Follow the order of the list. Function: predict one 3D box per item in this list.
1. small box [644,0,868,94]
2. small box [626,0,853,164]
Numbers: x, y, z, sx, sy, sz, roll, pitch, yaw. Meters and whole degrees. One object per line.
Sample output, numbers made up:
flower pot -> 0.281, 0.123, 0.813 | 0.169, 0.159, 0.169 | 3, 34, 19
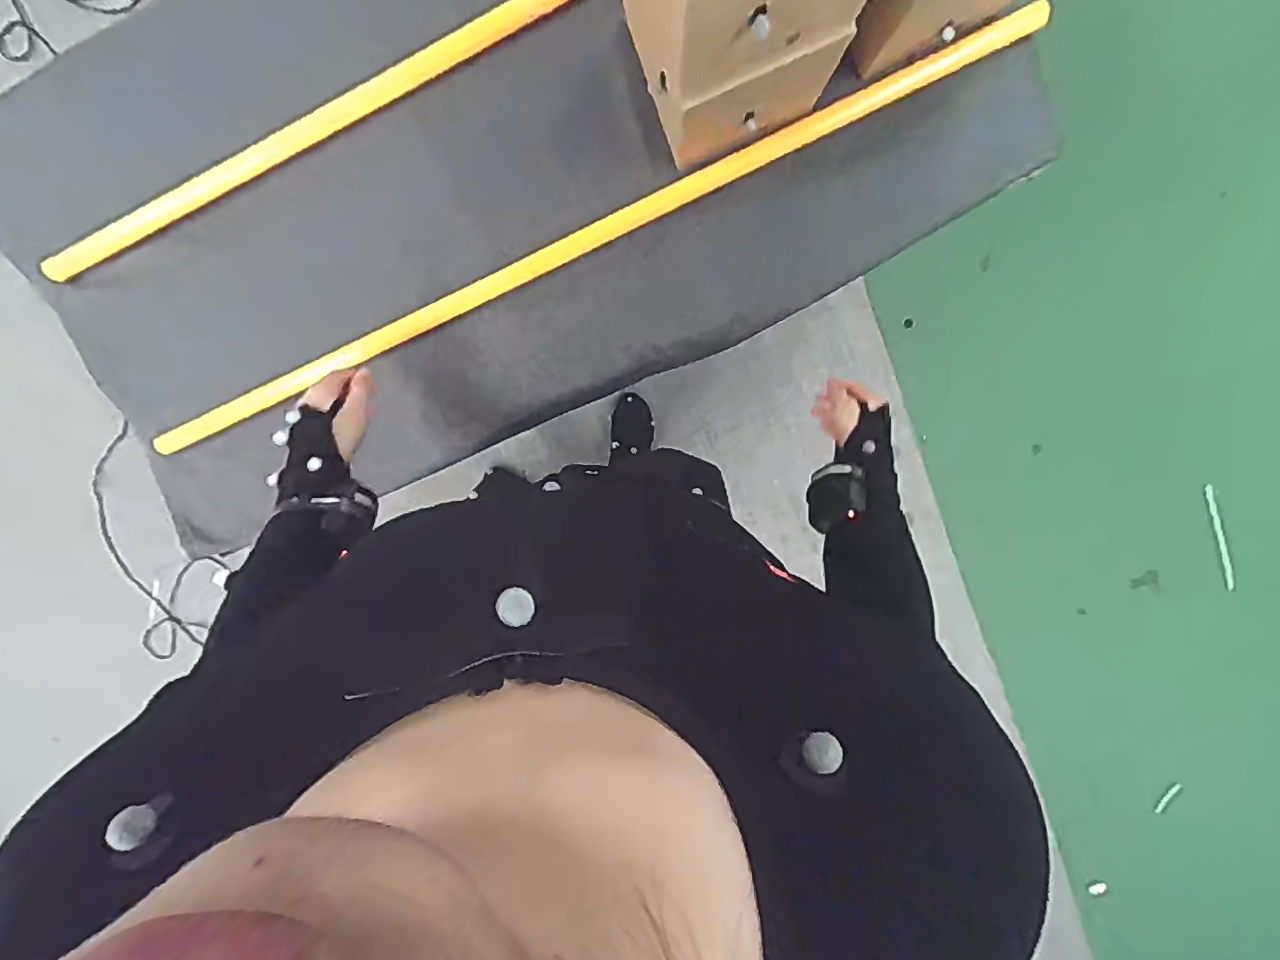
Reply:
small box -> 0.080, -0.423, 0.391 | 0.168, 0.176, 0.179 | -20, 100, 7
small box -> 0.088, -0.453, 0.550 | 0.168, 0.176, 0.179 | -21, 100, 6
